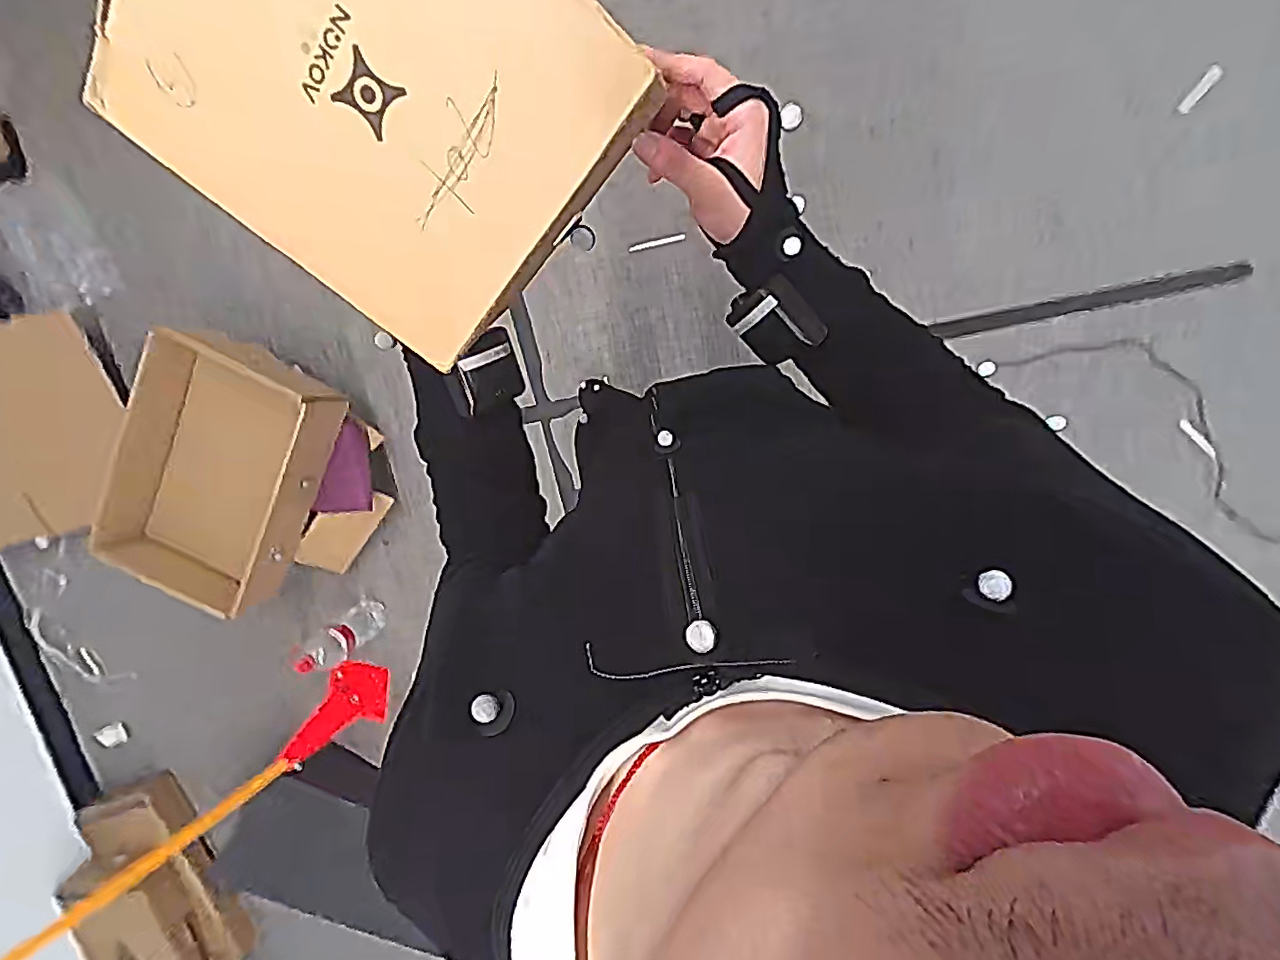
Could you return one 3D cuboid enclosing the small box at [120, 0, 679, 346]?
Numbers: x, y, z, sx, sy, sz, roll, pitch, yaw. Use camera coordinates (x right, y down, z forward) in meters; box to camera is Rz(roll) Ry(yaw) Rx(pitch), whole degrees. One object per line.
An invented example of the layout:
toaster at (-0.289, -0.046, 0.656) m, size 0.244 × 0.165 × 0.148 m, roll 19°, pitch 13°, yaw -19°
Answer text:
small box at (-0.097, -0.209, 0.287) m, size 0.179 × 0.176 × 0.168 m, roll 38°, pitch 118°, yaw -19°
